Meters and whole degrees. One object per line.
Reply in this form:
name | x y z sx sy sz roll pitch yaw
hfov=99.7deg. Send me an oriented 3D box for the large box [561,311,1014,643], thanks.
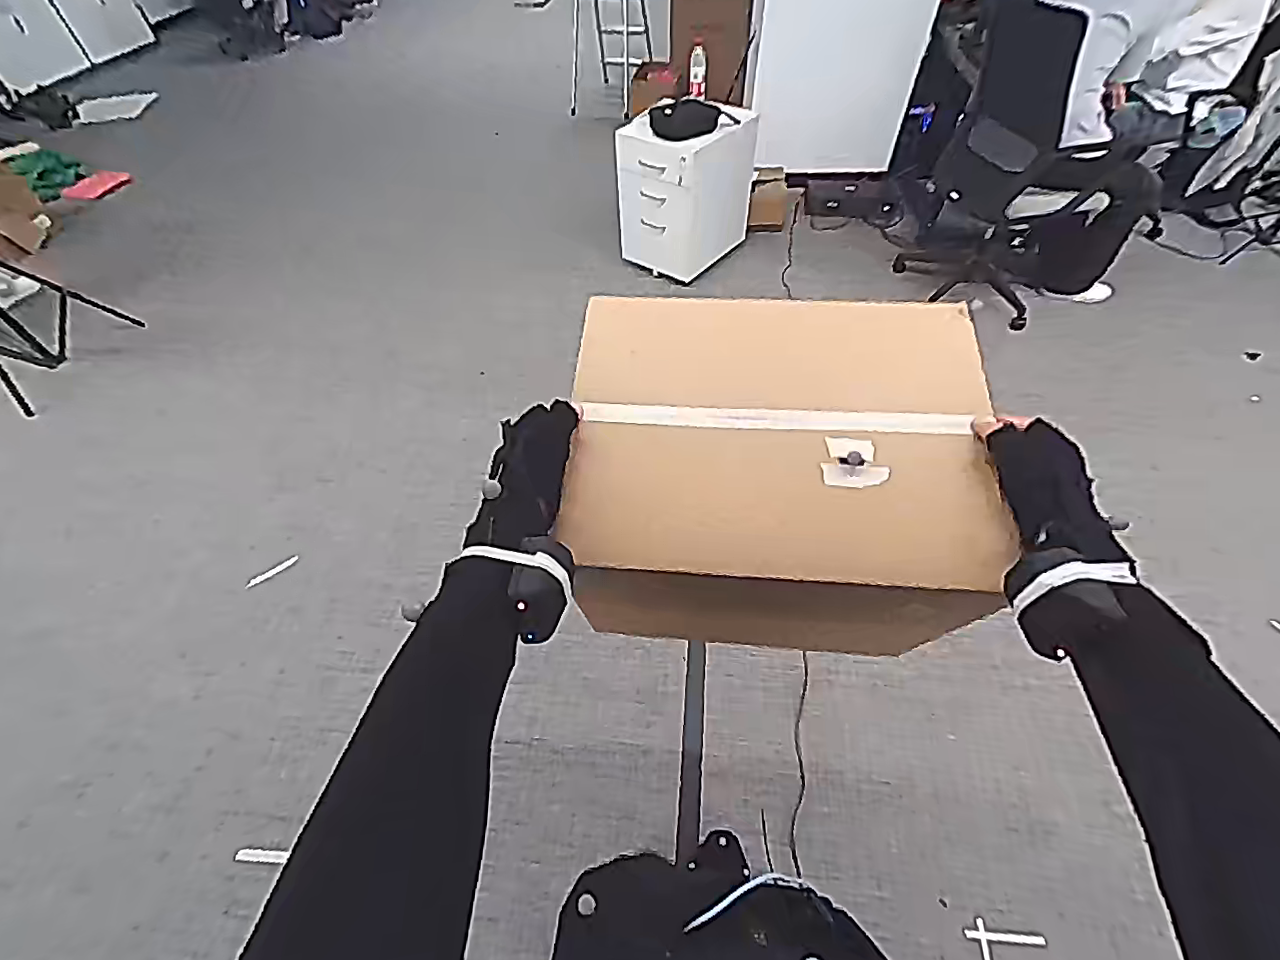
large box | 0.140 0.013 0.673 0.408 0.320 0.320 2 64 5
